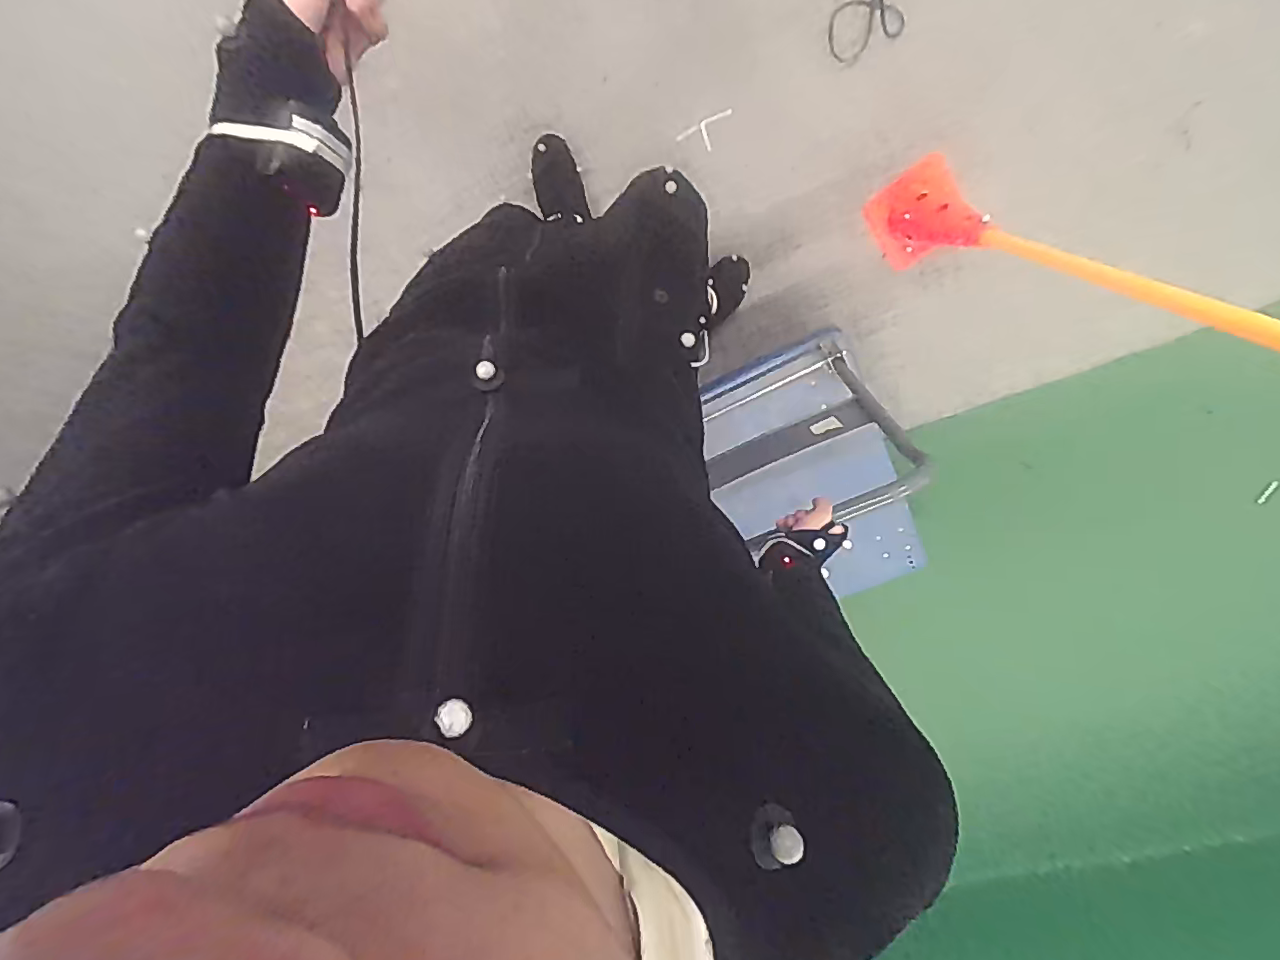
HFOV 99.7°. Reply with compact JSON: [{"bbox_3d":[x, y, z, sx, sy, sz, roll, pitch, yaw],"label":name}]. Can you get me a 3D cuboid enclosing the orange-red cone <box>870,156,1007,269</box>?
[{"bbox_3d":[0.689,-0.560,1.184,0.199,0.360,0.198,-34,117,19],"label":"orange-red cone"}]
